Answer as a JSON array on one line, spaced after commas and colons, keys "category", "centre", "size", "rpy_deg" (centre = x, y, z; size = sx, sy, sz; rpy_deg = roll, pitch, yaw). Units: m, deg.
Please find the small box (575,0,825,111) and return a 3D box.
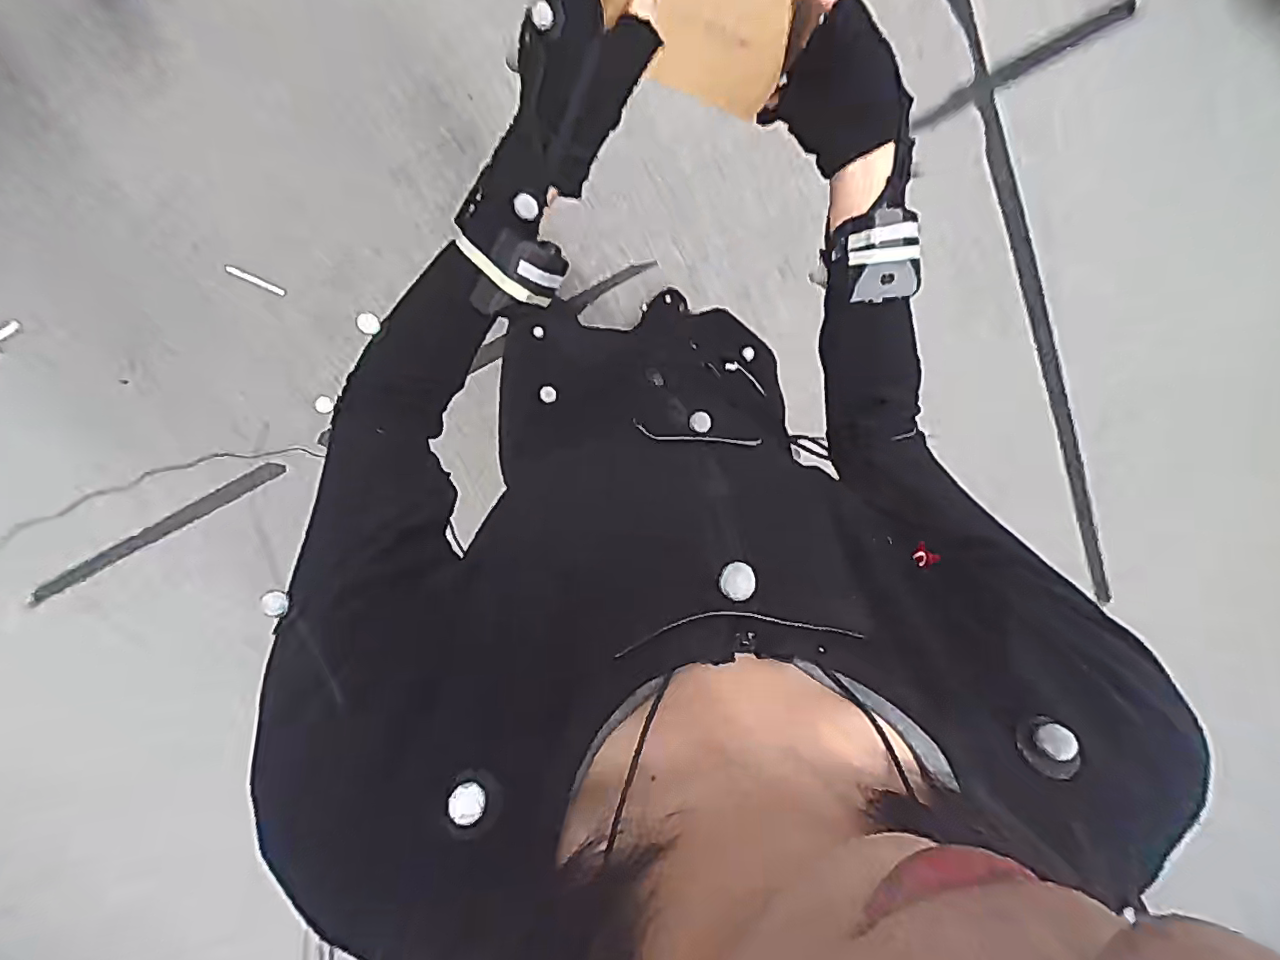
[{"category": "small box", "centre": [0.037, -0.405, 0.362], "size": [0.168, 0.176, 0.179], "rpy_deg": [-10, 156, -36]}]
